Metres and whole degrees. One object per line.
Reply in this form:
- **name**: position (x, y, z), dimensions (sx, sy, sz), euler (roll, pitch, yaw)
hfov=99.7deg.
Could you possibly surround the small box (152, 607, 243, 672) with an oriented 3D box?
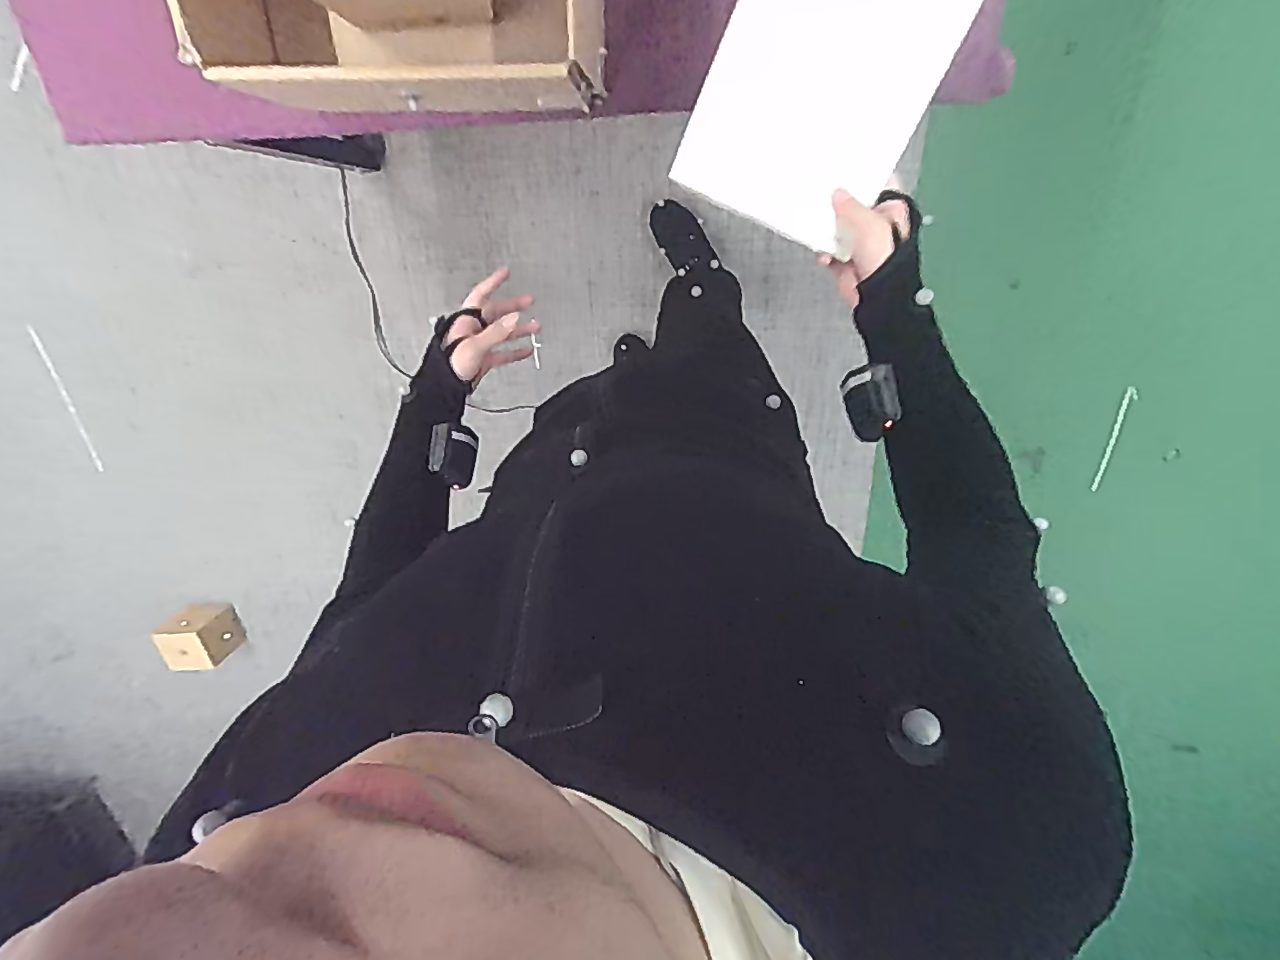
- **small box**: position (-1.601, 0.579, 1.975), dimensions (0.179, 0.176, 0.168), euler (-3, 113, 6)
